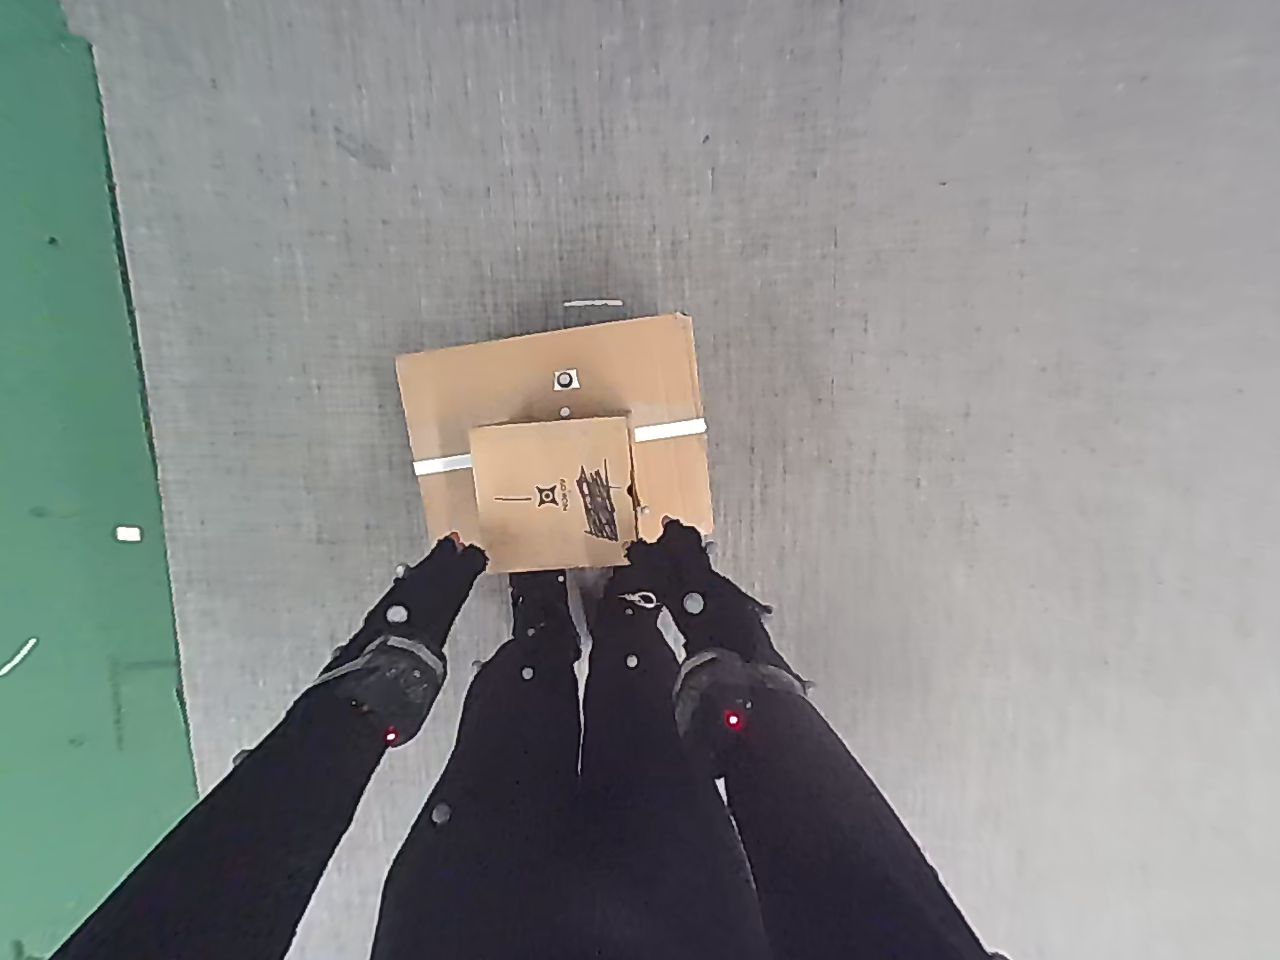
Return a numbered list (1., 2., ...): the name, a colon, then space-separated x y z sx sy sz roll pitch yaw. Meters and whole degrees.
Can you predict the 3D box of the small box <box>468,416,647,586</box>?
1. small box: -0.089 0.015 0.663 0.179 0.176 0.168 -7 99 1
